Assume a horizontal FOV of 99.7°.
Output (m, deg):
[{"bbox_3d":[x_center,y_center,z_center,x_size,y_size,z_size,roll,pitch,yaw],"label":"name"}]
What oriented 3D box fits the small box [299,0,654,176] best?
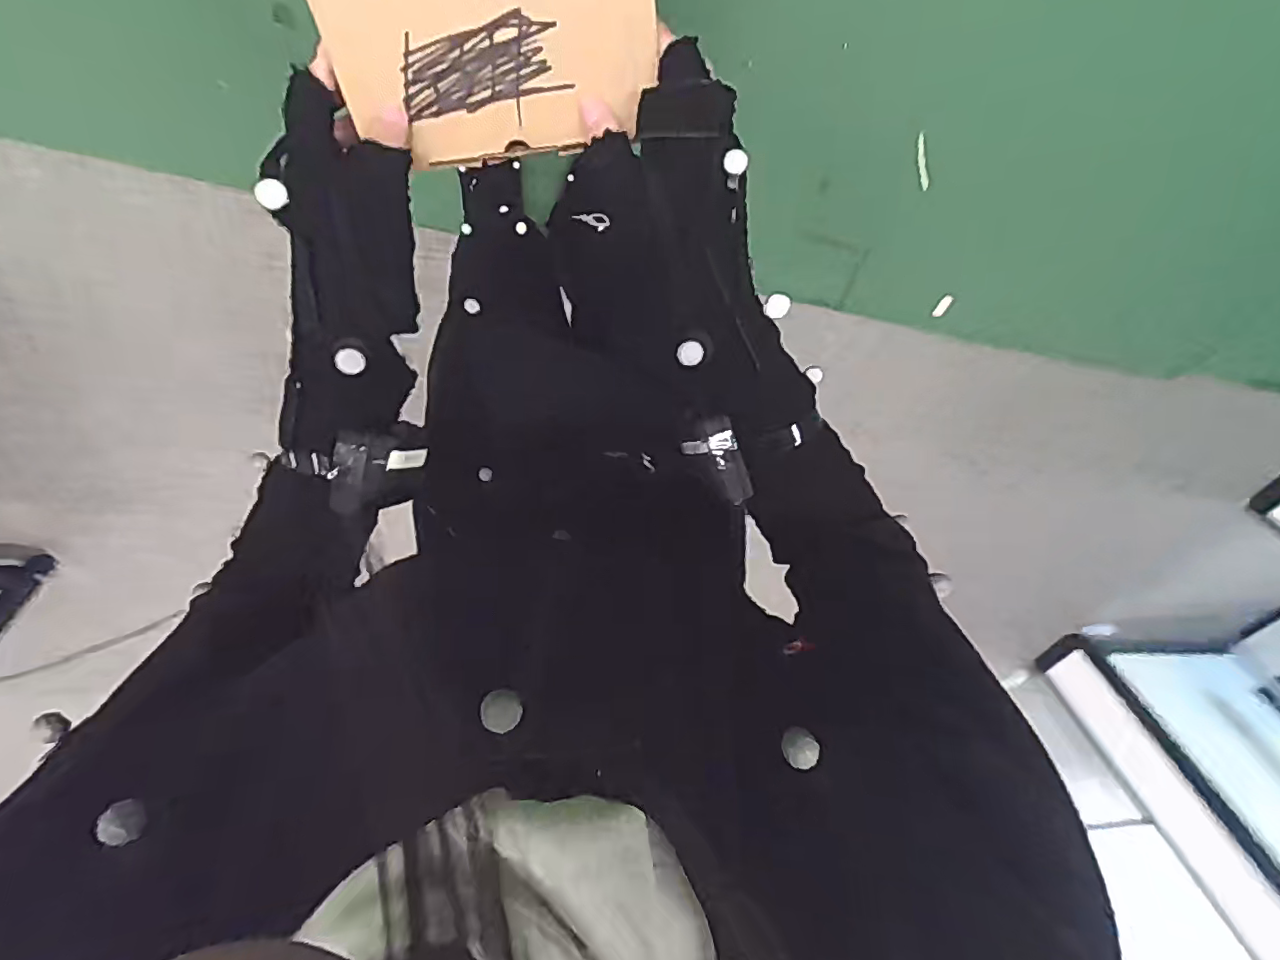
[{"bbox_3d":[-0.086,-0.296,0.303,0.168,0.176,0.179,-8,131,1],"label":"small box"}]
